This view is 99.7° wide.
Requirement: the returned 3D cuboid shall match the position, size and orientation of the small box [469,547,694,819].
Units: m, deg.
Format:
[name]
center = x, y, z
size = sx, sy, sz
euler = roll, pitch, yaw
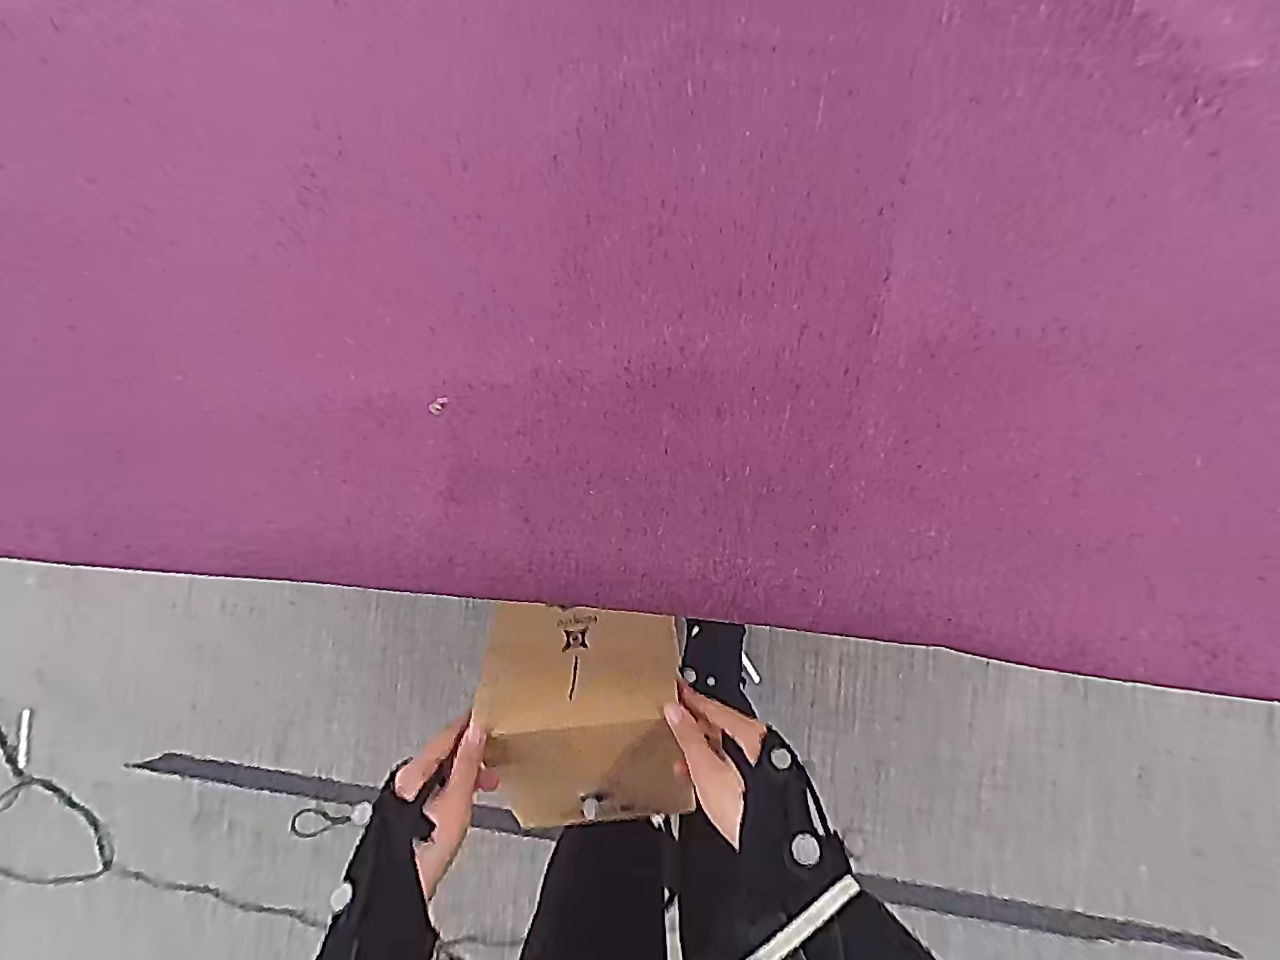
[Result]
[small box]
center = -0.042, 0.190, 0.518
size = 0.168, 0.179, 0.176
euler = -8, 127, 3
